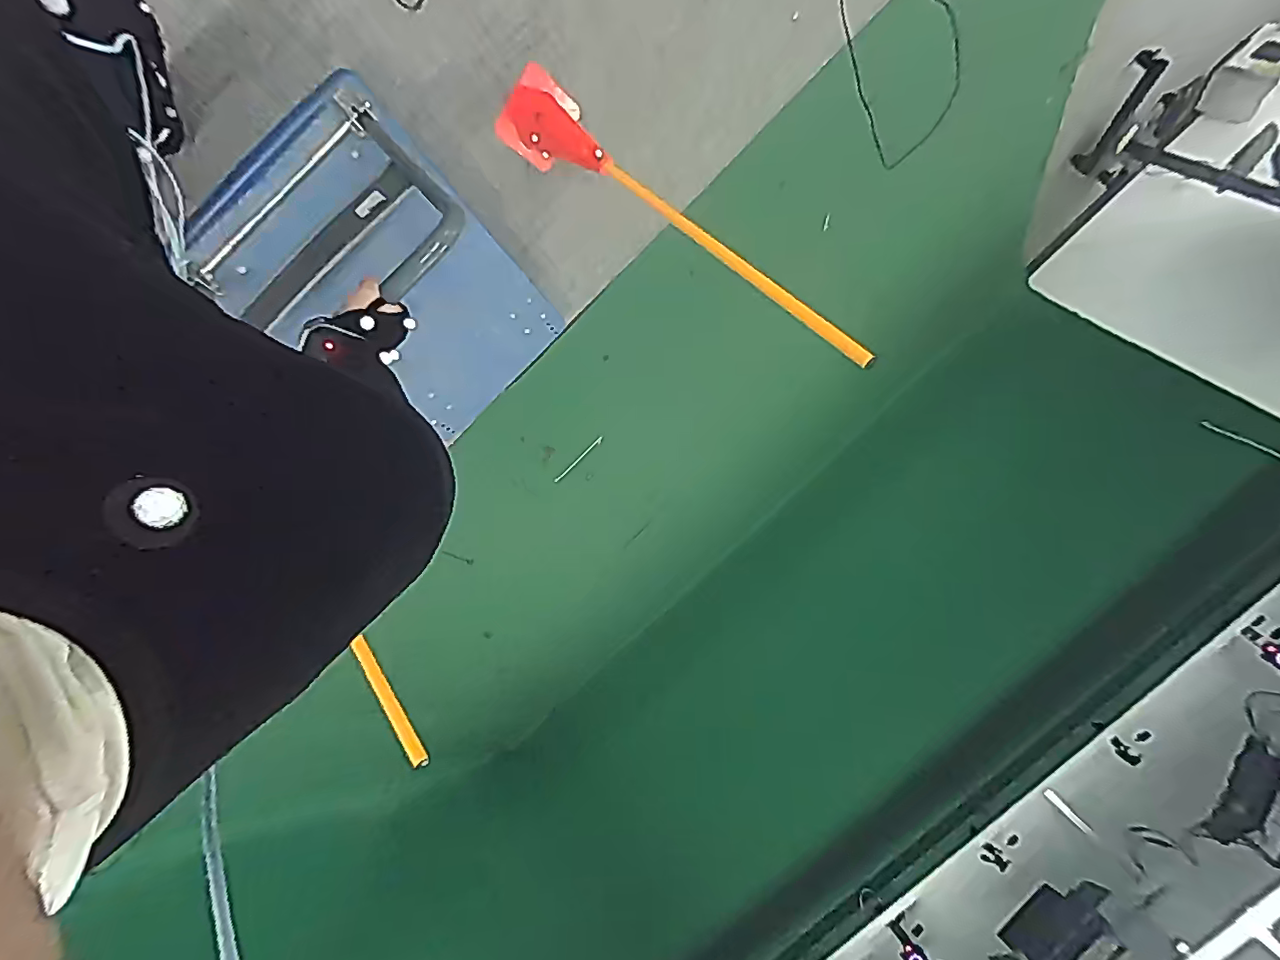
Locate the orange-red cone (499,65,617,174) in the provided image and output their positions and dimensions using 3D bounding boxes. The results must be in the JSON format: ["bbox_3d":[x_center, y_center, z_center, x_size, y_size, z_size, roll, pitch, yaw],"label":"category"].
[{"bbox_3d":[-0.172,-0.880,1.402,0.199,0.360,0.198,-52,149,16],"label":"orange-red cone"}]
